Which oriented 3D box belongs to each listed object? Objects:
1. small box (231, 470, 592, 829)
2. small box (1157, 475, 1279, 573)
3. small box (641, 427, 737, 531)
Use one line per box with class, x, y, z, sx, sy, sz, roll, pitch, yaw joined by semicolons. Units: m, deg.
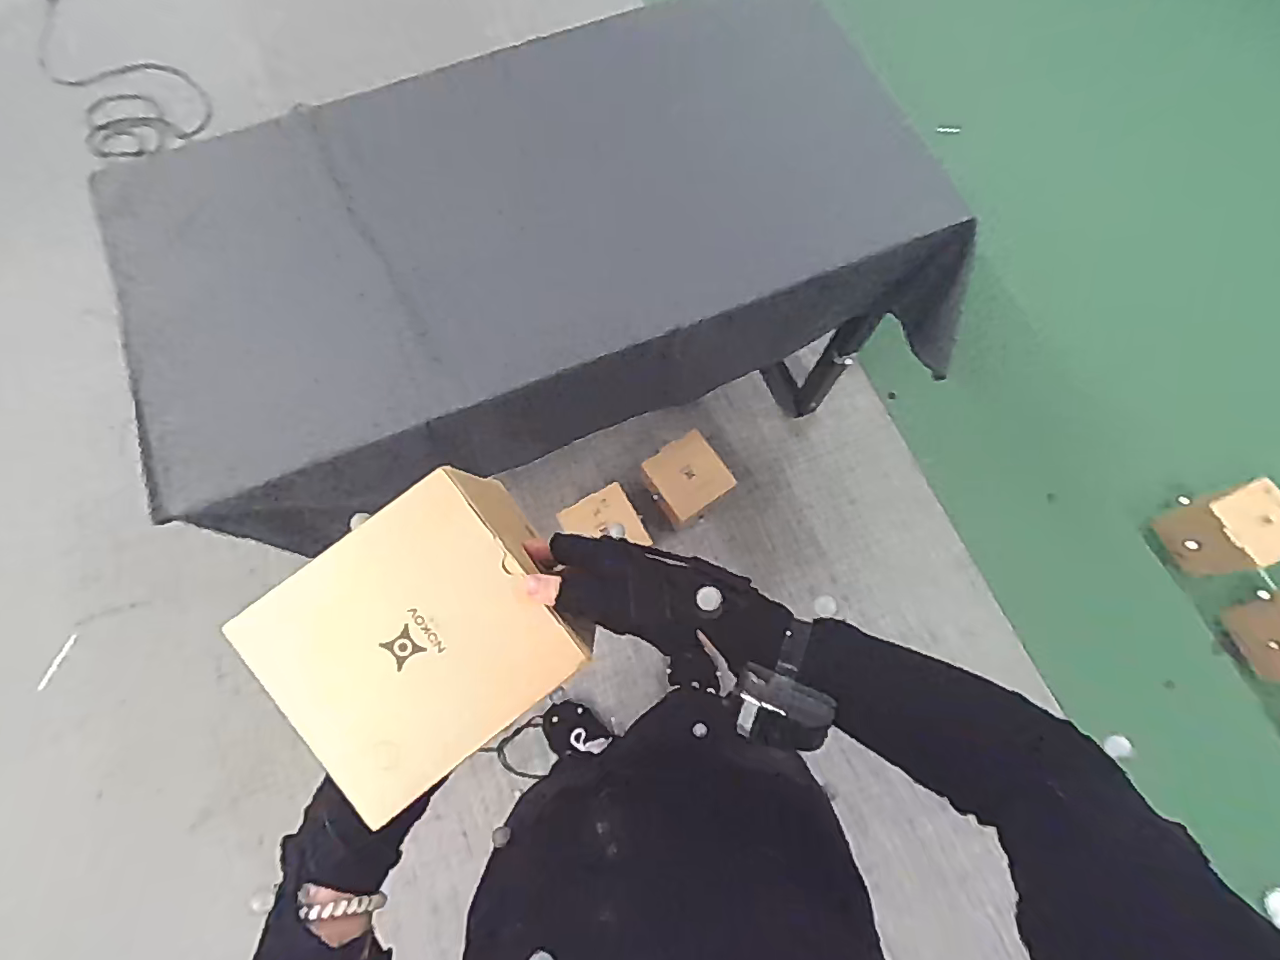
small box;-0.151;0.113;0.429;0.179;0.176;0.168;-37;89;-5
small box;1.422;0.114;1.309;0.179;0.176;0.168;-23;75;-5
small box;0.115;0.004;1.354;0.168;0.176;0.179;-34;75;-8
